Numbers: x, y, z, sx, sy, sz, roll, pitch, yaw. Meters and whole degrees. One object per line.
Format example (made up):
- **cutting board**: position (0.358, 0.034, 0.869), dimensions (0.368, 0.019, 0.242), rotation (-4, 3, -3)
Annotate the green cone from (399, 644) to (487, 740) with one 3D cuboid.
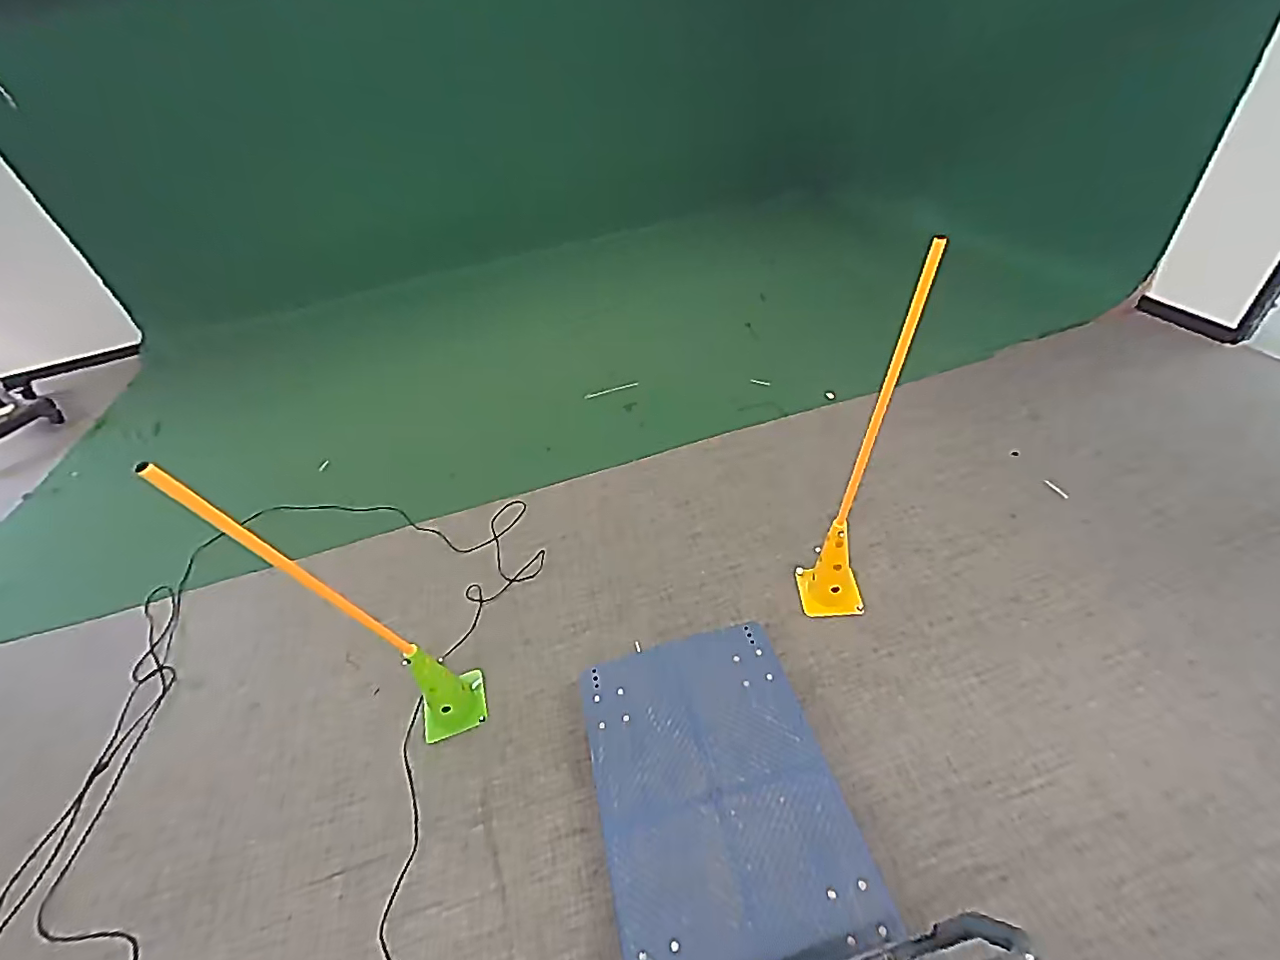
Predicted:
- **green cone**: position (-0.640, 0.611, 1.674), dimensions (0.202, 0.368, 0.200), rotation (-20, 42, -8)
